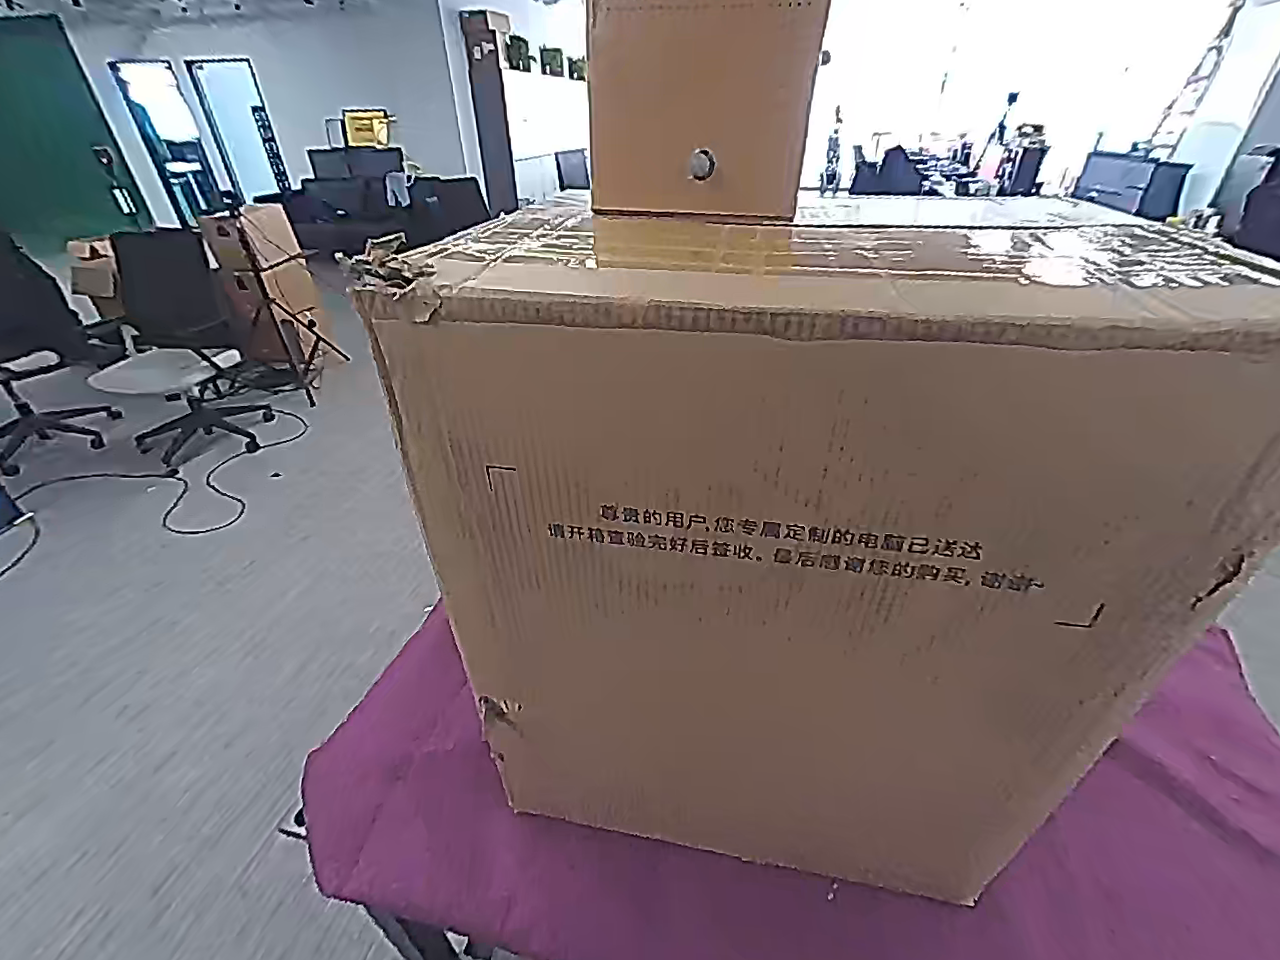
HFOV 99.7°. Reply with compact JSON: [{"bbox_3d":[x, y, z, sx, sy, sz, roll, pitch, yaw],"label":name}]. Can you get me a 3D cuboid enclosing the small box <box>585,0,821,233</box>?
[{"bbox_3d":[0.054,-0.327,0.481,0.179,0.176,0.168,7,35,11],"label":"small box"}]
